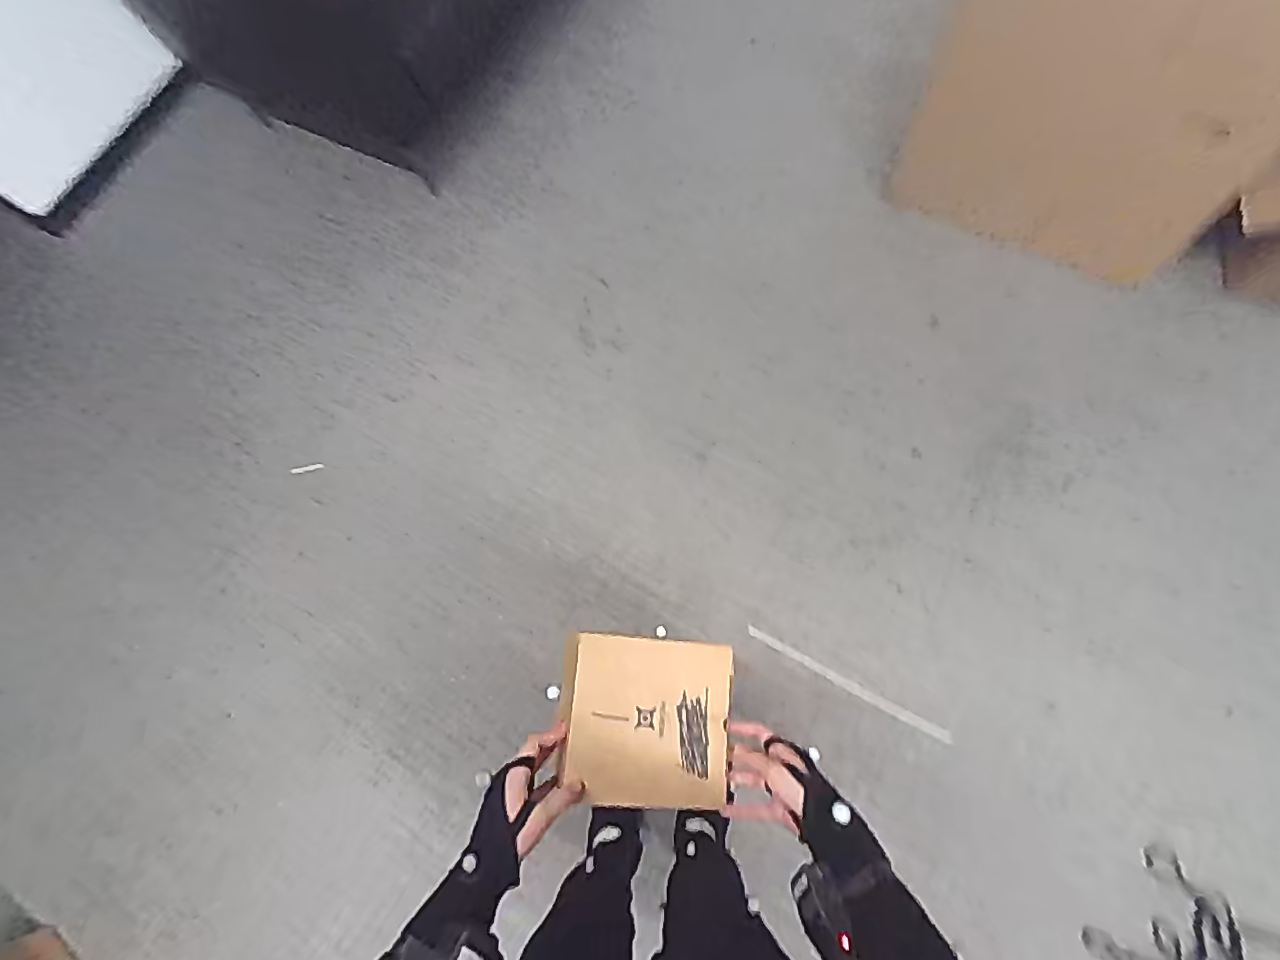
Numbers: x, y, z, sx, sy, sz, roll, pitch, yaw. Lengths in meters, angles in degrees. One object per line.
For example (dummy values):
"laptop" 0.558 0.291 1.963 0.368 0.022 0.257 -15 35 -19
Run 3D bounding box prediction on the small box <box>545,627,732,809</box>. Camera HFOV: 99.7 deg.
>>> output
"small box" -0.009 0.265 0.633 0.179 0.176 0.168 9 74 -11
